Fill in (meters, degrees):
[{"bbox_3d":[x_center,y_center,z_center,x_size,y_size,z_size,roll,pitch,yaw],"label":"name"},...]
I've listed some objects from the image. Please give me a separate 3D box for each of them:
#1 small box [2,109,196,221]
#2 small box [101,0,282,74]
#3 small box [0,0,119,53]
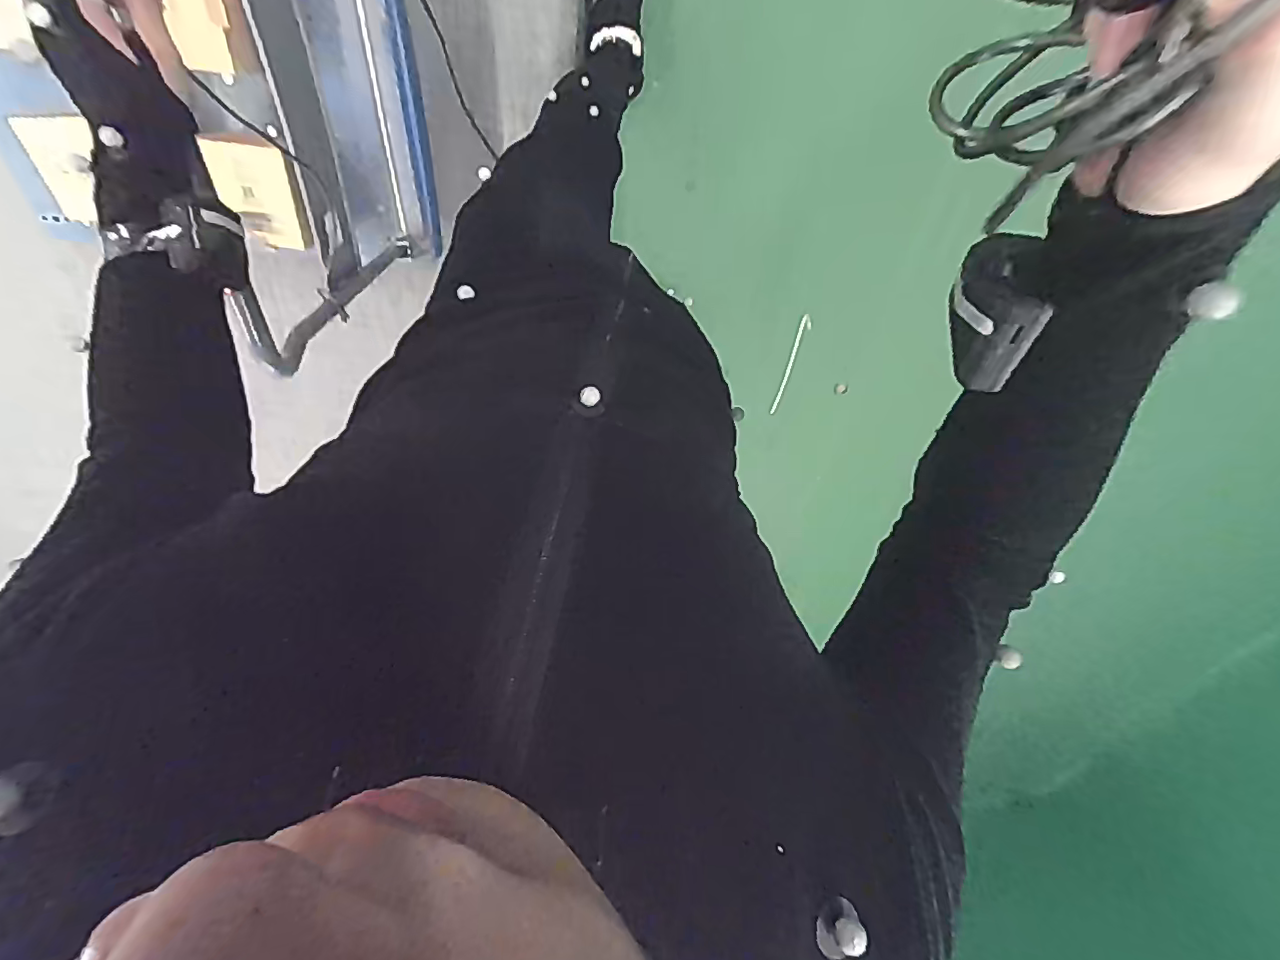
[{"bbox_3d":[-1.007,-0.605,1.035,0.179,0.176,0.168,0,128,0],"label":"small box"},{"bbox_3d":[-0.743,-0.785,0.894,0.179,0.176,0.168,4,129,-4],"label":"small box"},{"bbox_3d":[-0.991,-0.804,0.878,0.179,0.176,0.168,2,129,-2],"label":"small box"}]
